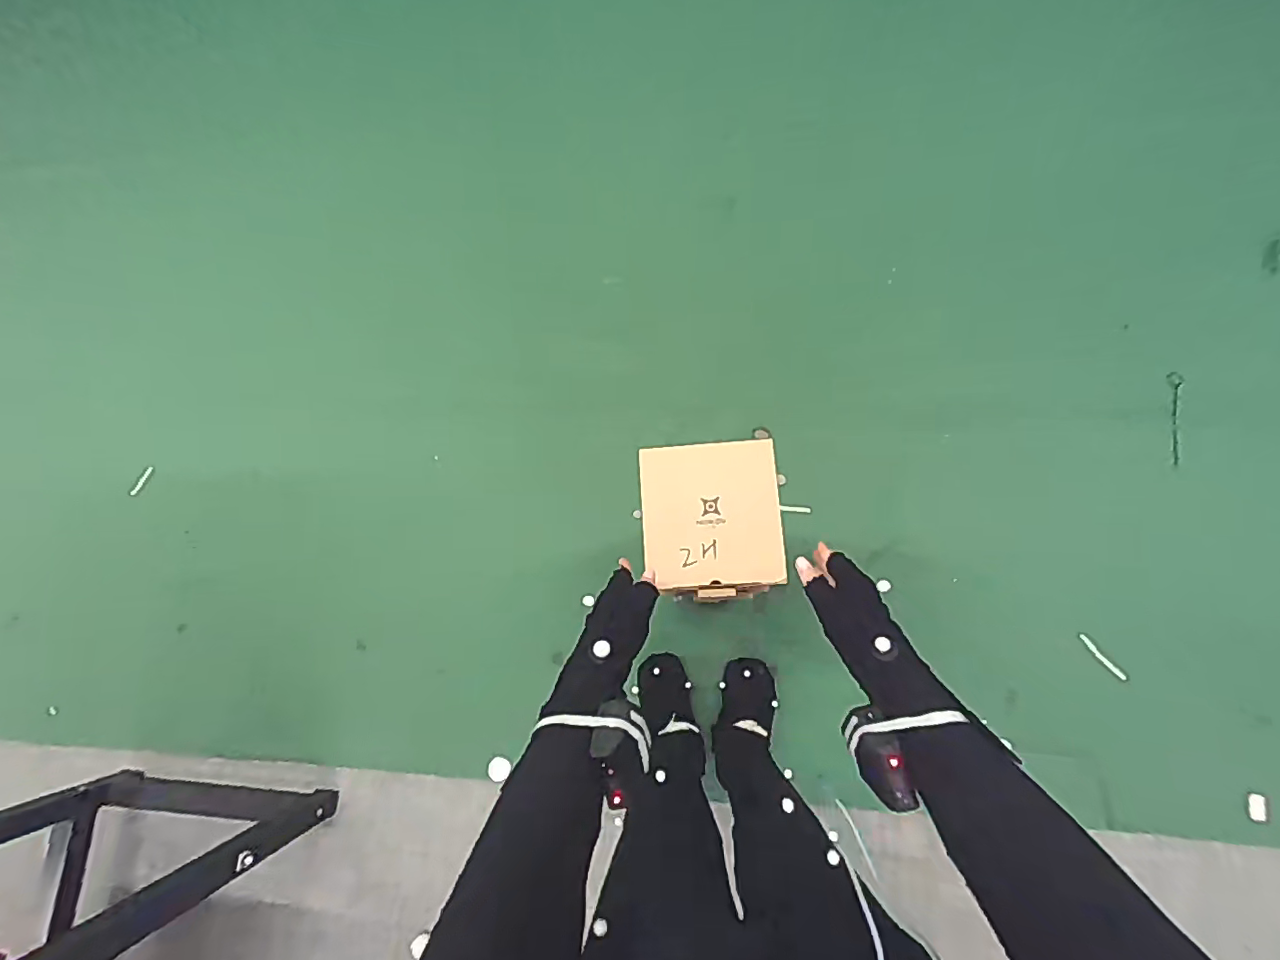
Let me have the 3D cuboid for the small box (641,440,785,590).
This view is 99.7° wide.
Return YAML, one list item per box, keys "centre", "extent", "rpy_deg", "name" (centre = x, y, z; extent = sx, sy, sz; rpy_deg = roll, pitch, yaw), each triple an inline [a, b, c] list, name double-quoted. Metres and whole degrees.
- centre: [0.093, 0.056, 0.729]
  extent: [0.168, 0.176, 0.179]
  rpy_deg: [-4, 79, 6]
  name: "small box"
